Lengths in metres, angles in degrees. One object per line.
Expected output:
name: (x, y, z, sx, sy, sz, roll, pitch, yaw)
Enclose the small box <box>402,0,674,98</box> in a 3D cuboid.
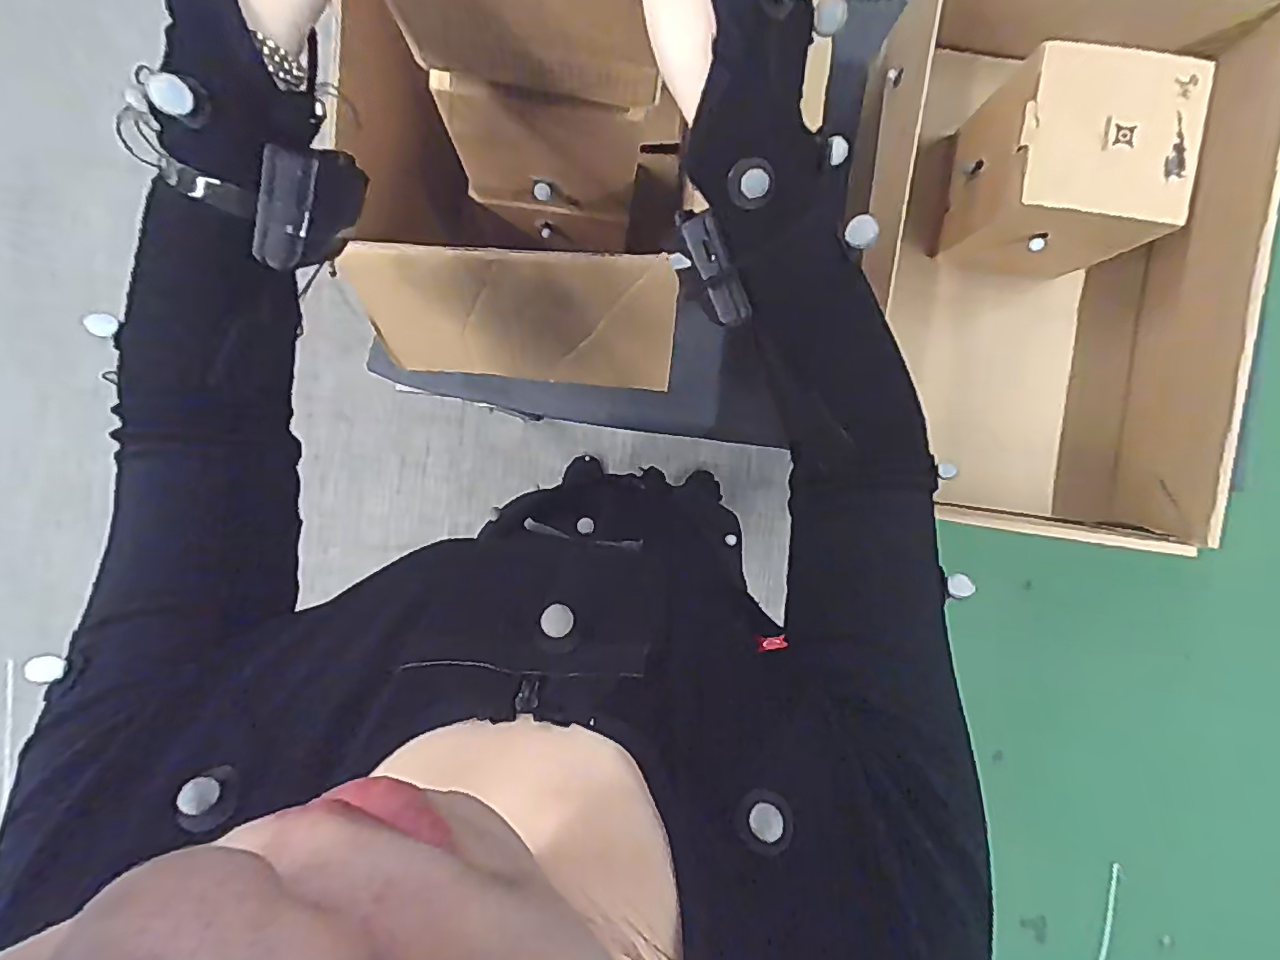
small box: (-0.056, -0.363, 0.312, 0.179, 0.176, 0.168, 7, 95, -6)
